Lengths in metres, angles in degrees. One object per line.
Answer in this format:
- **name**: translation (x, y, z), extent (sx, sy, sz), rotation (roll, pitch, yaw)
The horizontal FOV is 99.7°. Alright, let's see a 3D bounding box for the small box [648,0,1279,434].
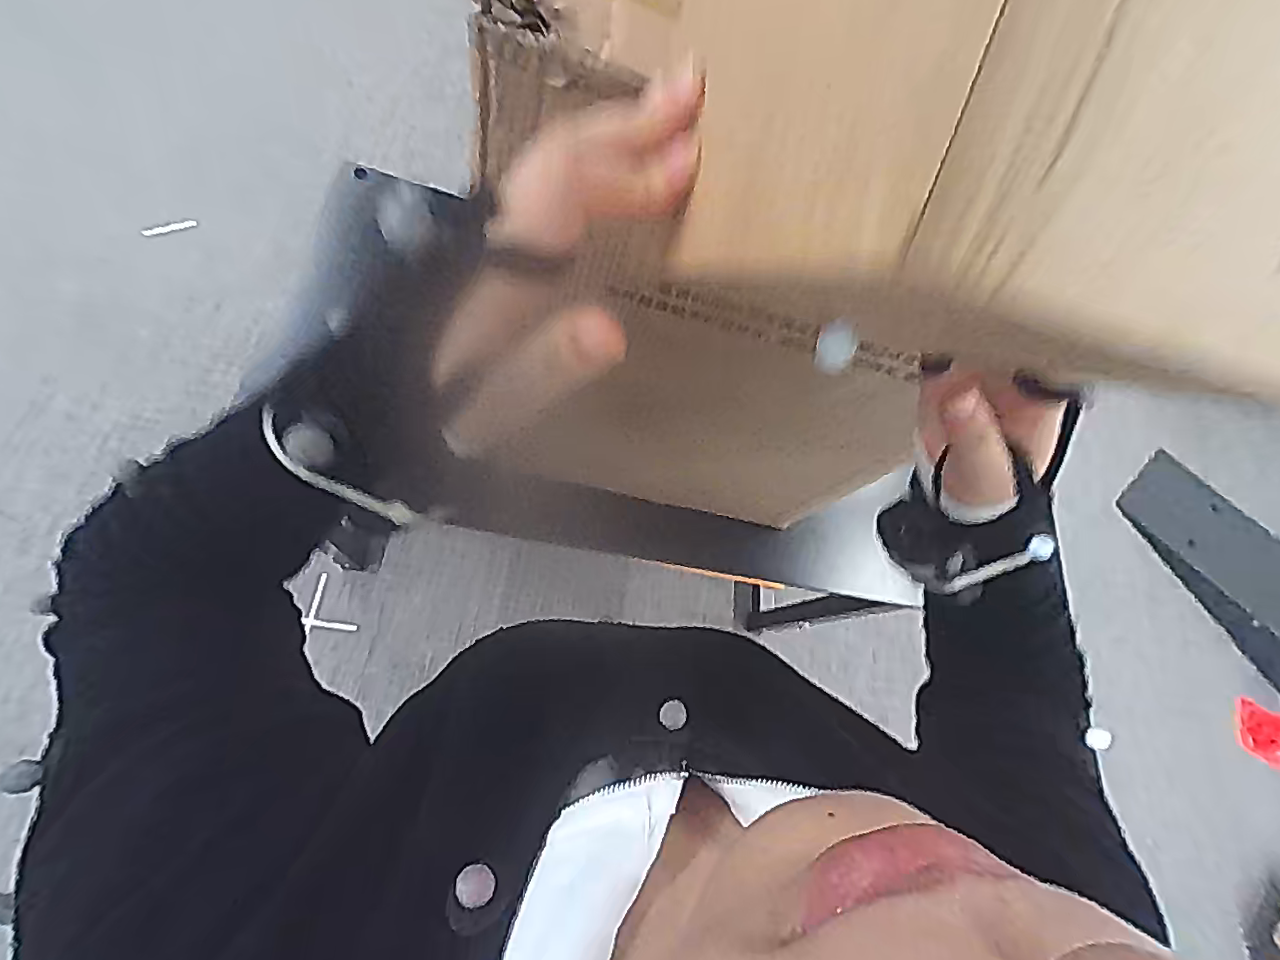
- **small box**: translation (0.114, -0.126, 0.162), extent (0.168, 0.176, 0.179), rotation (8, 108, -19)
